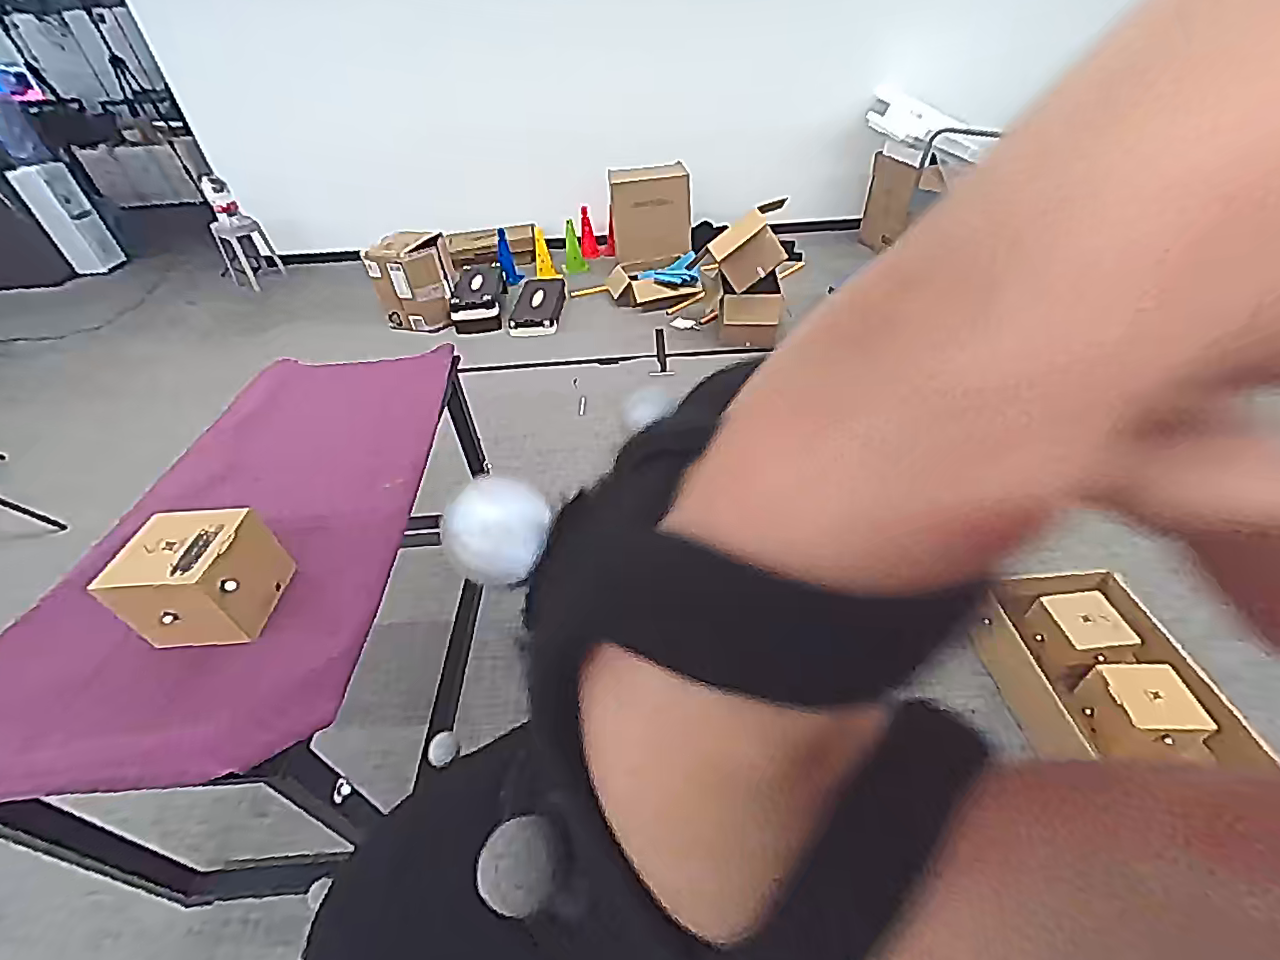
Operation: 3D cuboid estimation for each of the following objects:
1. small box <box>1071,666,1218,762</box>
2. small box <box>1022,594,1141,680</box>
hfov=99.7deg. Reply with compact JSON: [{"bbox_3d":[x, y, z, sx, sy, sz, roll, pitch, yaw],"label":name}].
[{"bbox_3d":[1.241,0.585,1.349,0.179,0.176,0.168,-1,41,5],"label":"small box"},{"bbox_3d":[1.213,0.441,1.509,0.179,0.176,0.168,-5,43,-1],"label":"small box"}]
